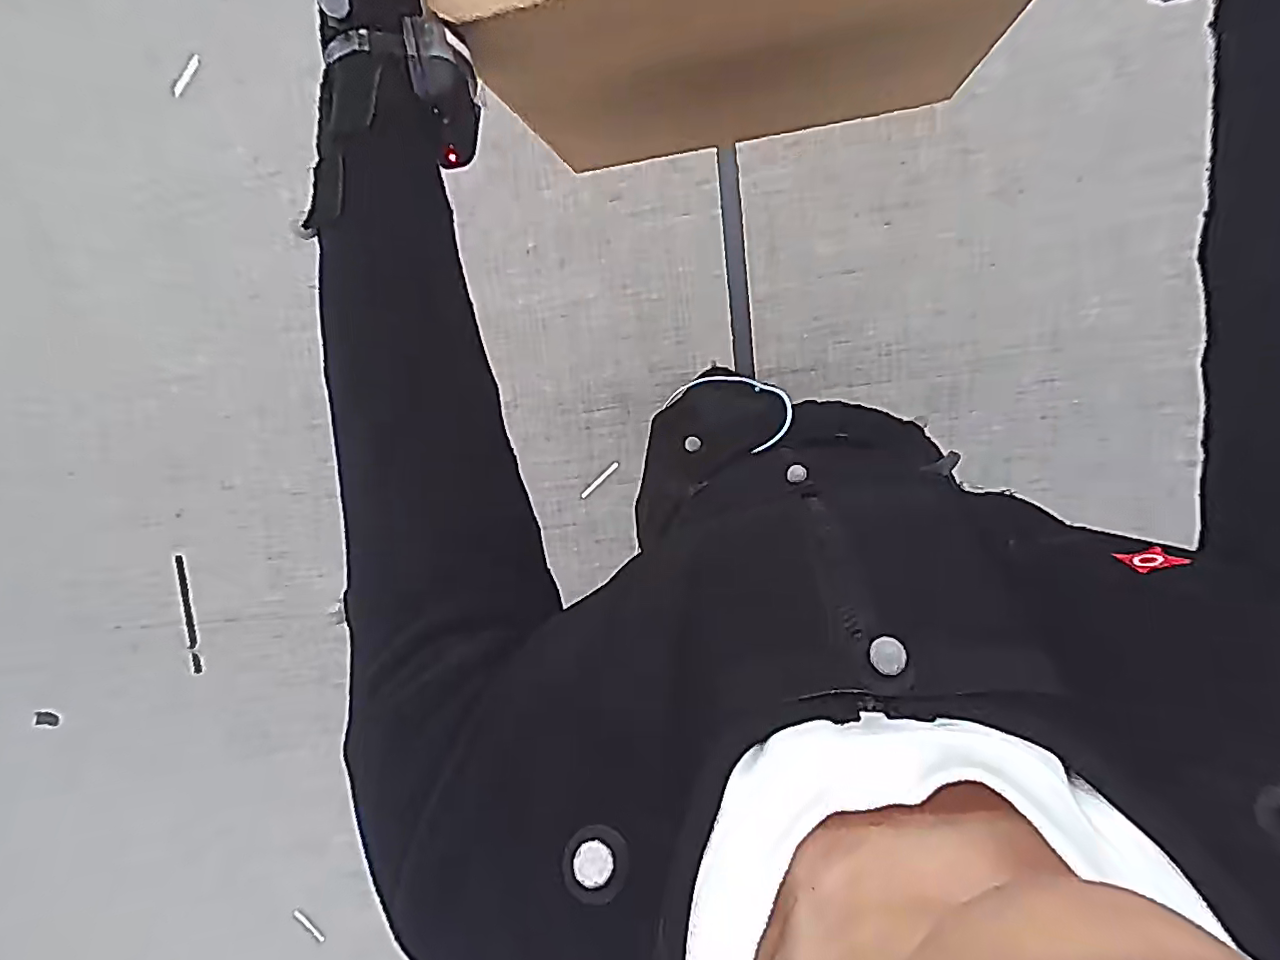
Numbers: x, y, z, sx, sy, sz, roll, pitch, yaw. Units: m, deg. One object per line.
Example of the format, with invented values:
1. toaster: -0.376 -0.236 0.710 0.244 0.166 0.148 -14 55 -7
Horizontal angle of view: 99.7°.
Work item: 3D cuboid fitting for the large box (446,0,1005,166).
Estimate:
1. large box: 0.072 -0.495 0.421 0.408 0.320 0.320 -5 103 11
